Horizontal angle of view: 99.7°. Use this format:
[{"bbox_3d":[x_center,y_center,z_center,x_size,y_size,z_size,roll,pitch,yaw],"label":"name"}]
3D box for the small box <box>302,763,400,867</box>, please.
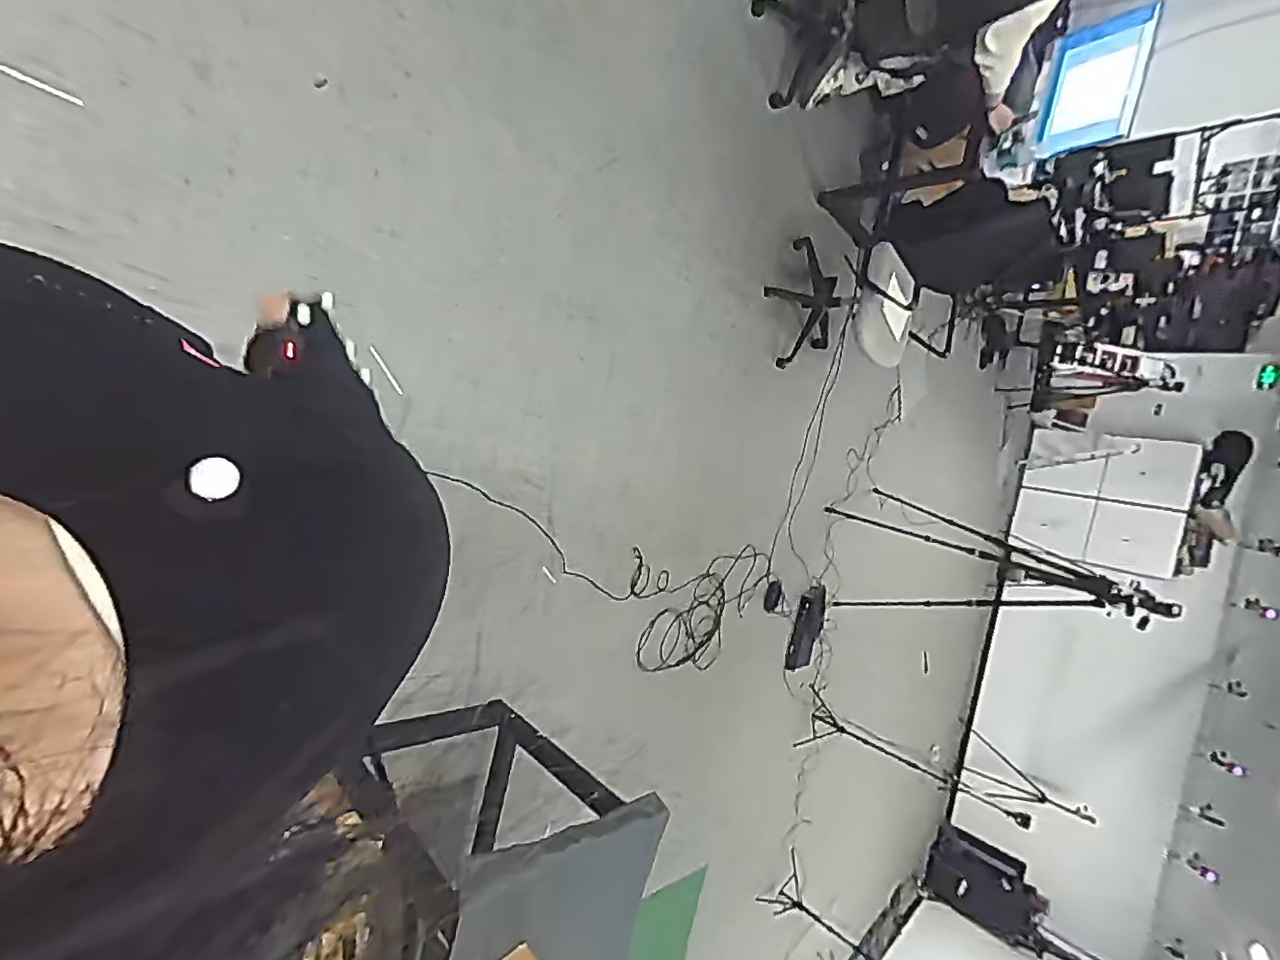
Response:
[{"bbox_3d":[-0.806,0.919,1.501,0.179,0.176,0.168,18,86,-47],"label":"small box"}]
